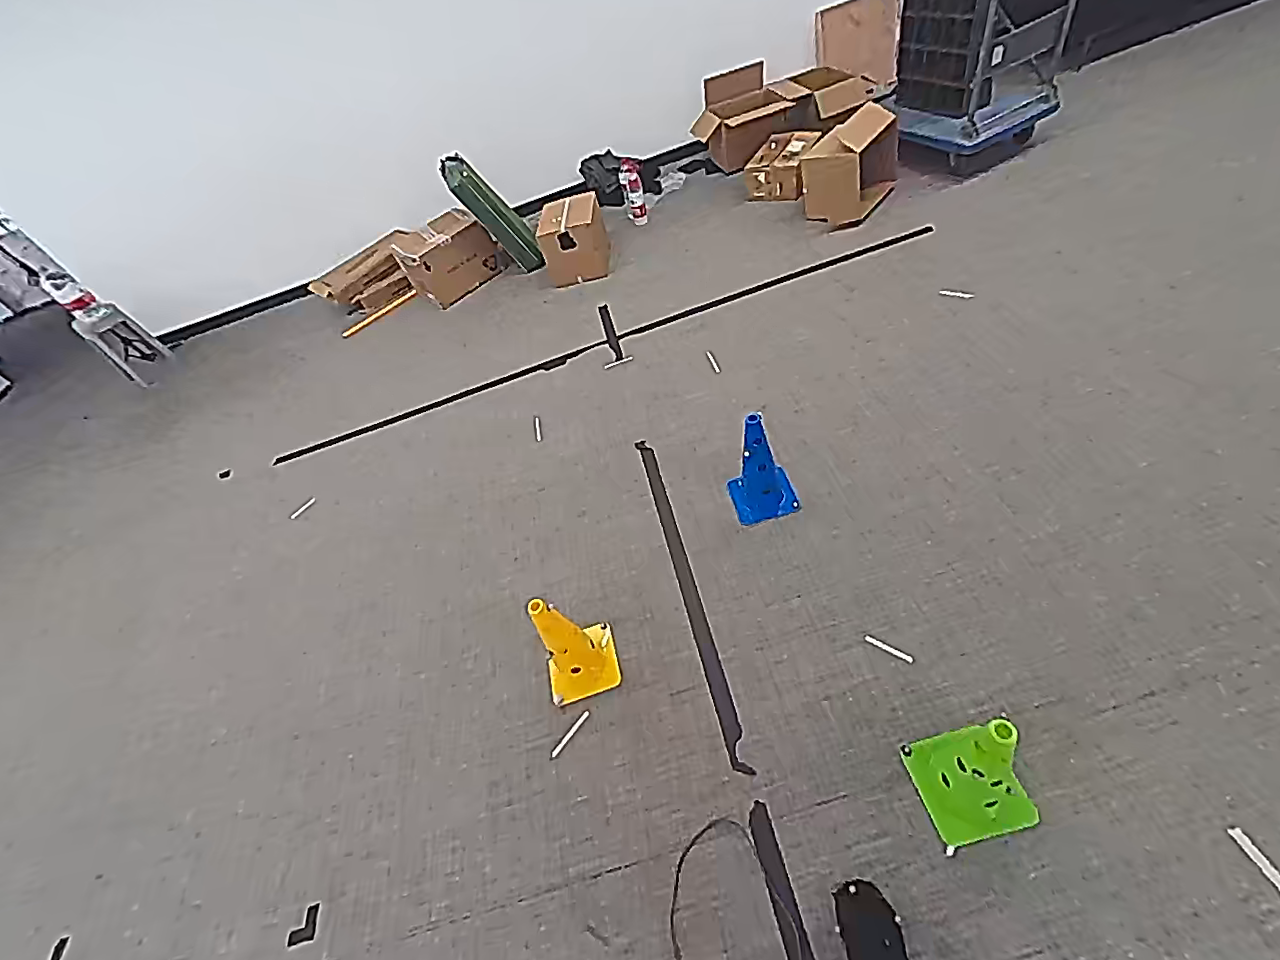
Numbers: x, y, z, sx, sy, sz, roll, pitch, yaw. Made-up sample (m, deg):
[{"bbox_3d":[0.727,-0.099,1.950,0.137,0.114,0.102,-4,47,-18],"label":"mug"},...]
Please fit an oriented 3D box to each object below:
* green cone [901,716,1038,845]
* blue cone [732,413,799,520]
[{"bbox_3d":[0.656,0.536,1.030,0.202,0.368,0.200,-18,47,2],"label":"green cone"},{"bbox_3d":[0.372,-0.058,1.672,0.192,0.380,0.193,-15,47,5],"label":"blue cone"}]
